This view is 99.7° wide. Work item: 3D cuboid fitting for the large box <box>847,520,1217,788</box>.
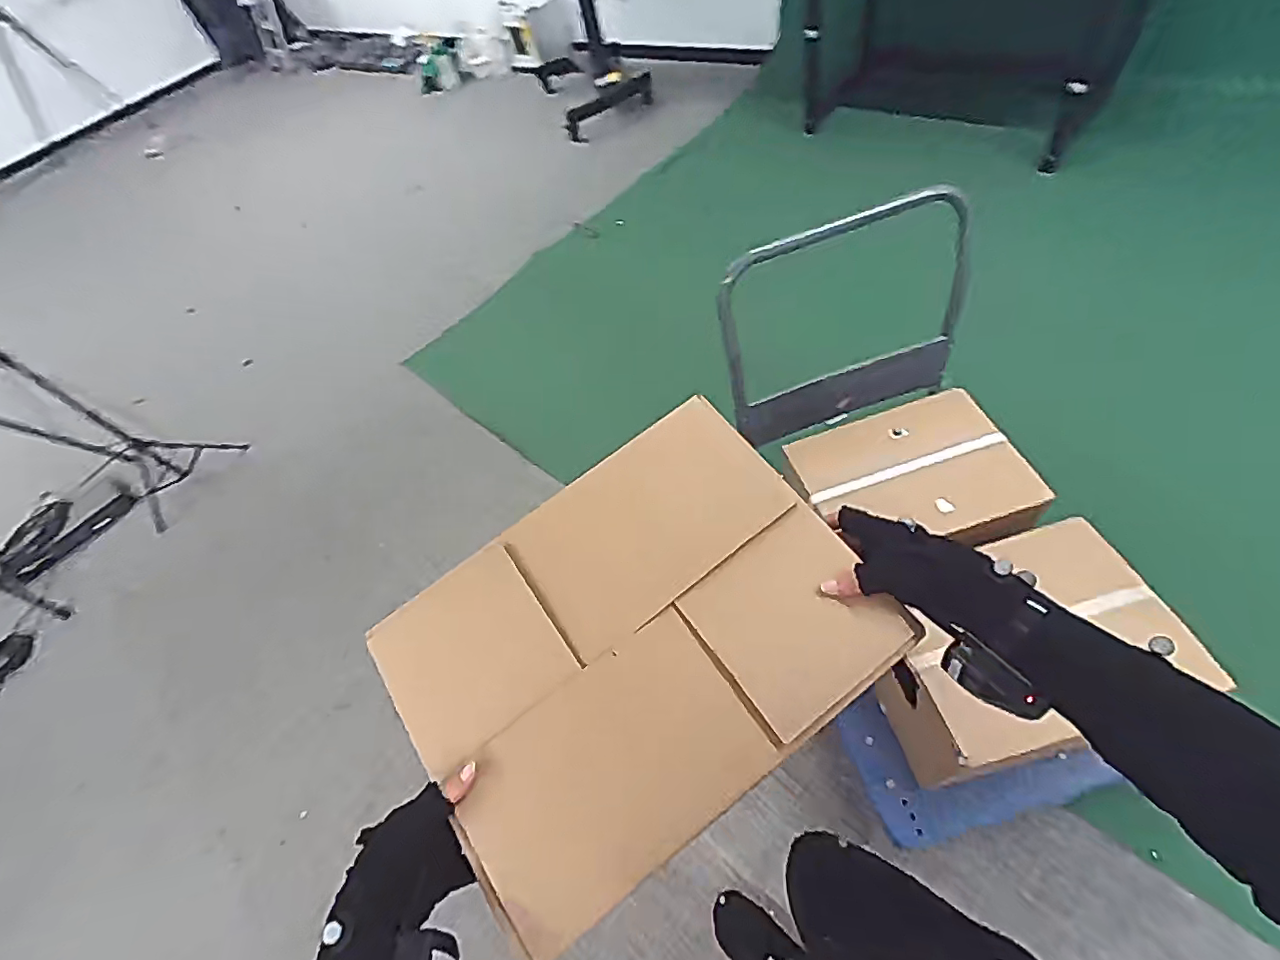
[{"bbox_3d":[0.650,0.330,0.994,0.408,0.320,0.320,-18,52,2],"label":"large box"}]
